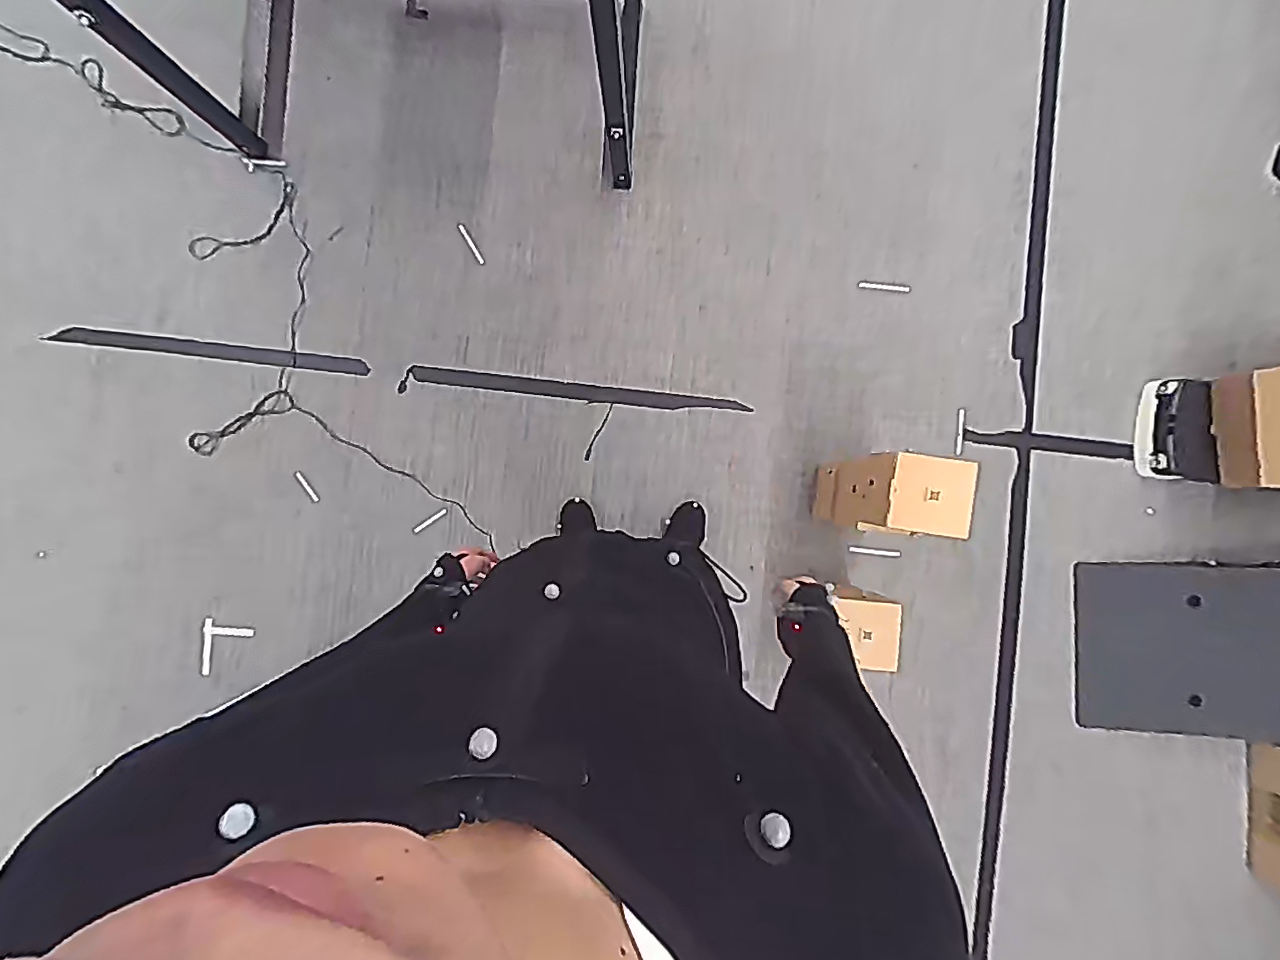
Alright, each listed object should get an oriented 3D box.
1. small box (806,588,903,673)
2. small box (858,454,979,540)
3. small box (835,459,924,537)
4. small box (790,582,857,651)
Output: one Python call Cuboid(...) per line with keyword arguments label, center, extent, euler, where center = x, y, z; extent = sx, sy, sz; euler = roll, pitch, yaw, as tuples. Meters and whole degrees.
Cuboid(label="small box", center=(0.542, 0.377, 1.383), extent=(0.179, 0.176, 0.168), euler=(5, 89, 1))
Cuboid(label="small box", center=(0.618, 0.034, 1.218), extent=(0.179, 0.176, 0.168), euler=(8, 91, 2))
Cuboid(label="small box", center=(0.613, 0.044, 1.381), extent=(0.168, 0.176, 0.179), euler=(6, 91, 1))
Cuboid(label="small box", center=(0.542, 0.390, 1.547), extent=(0.179, 0.176, 0.168), euler=(4, 88, 2))
